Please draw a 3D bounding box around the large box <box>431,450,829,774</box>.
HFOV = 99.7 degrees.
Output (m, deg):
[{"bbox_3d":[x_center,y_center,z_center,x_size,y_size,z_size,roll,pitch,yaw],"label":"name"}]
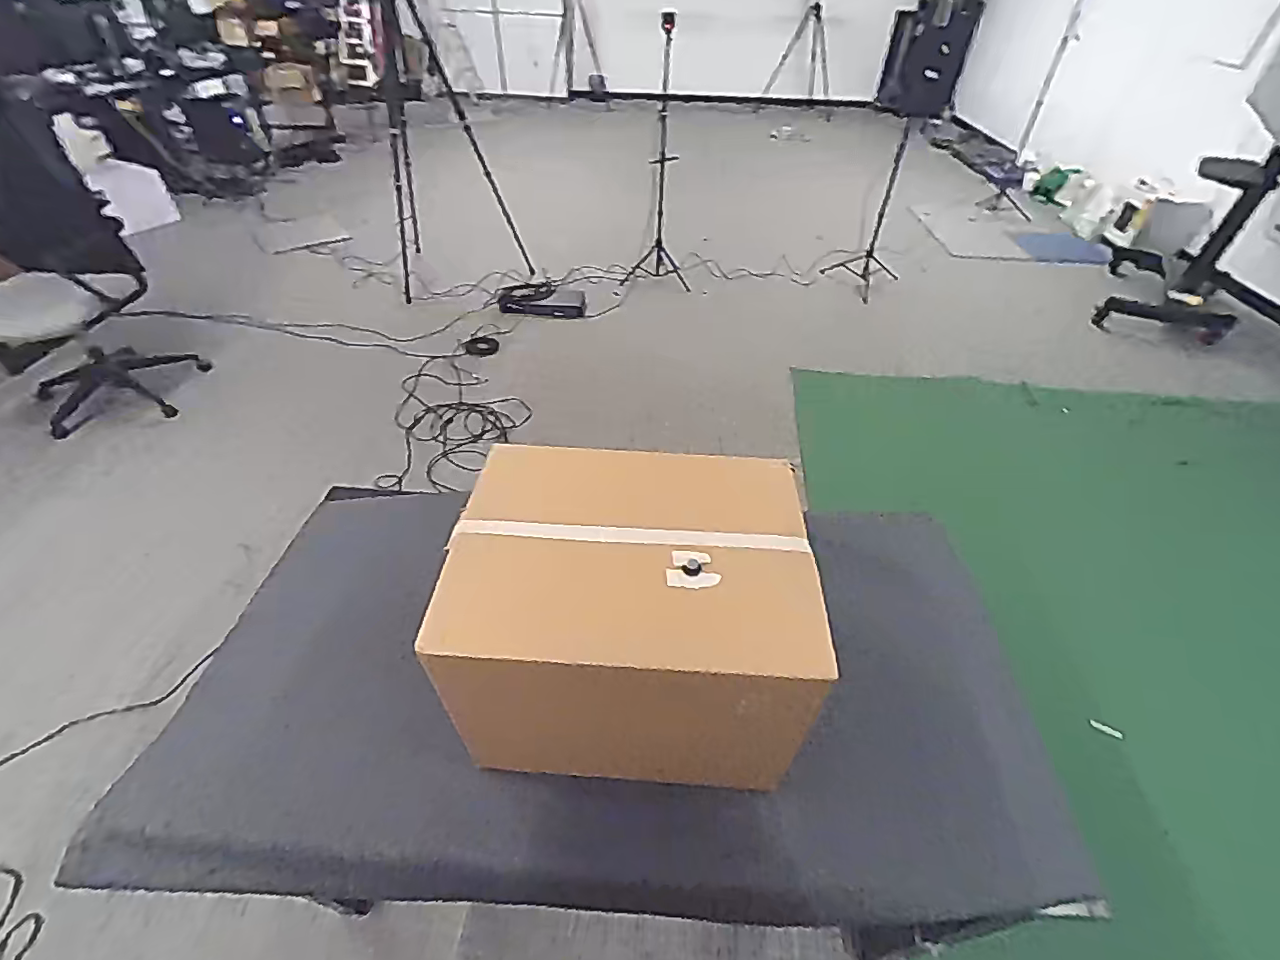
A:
[{"bbox_3d":[-0.011,0.179,0.738,0.408,0.320,0.320,3,44,1],"label":"large box"}]
